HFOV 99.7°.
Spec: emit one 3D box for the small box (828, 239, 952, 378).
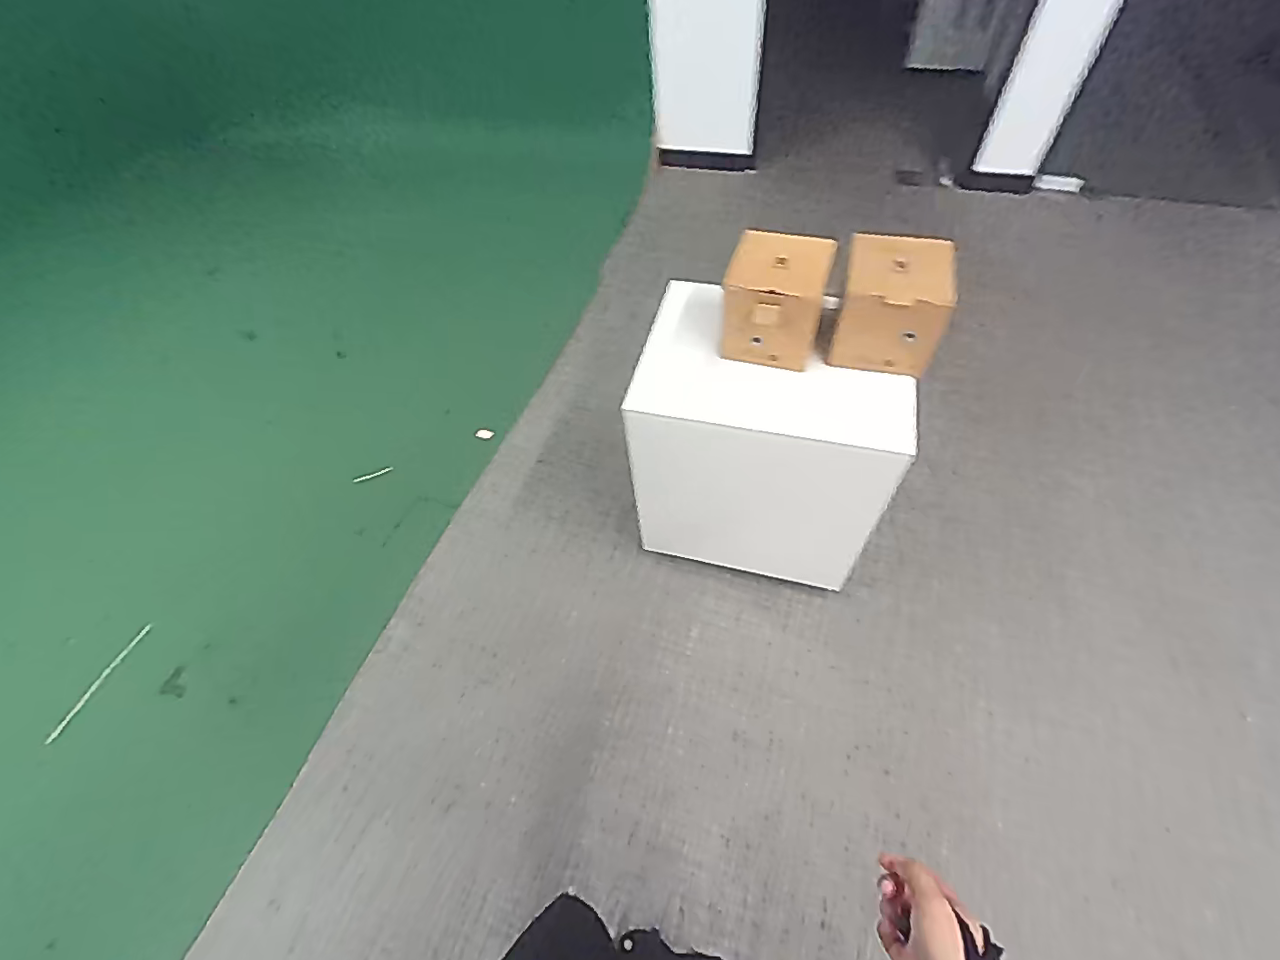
[{"bbox_3d":[0.446,-0.308,0.982,0.168,0.176,0.179,10,56,12],"label":"small box"}]
